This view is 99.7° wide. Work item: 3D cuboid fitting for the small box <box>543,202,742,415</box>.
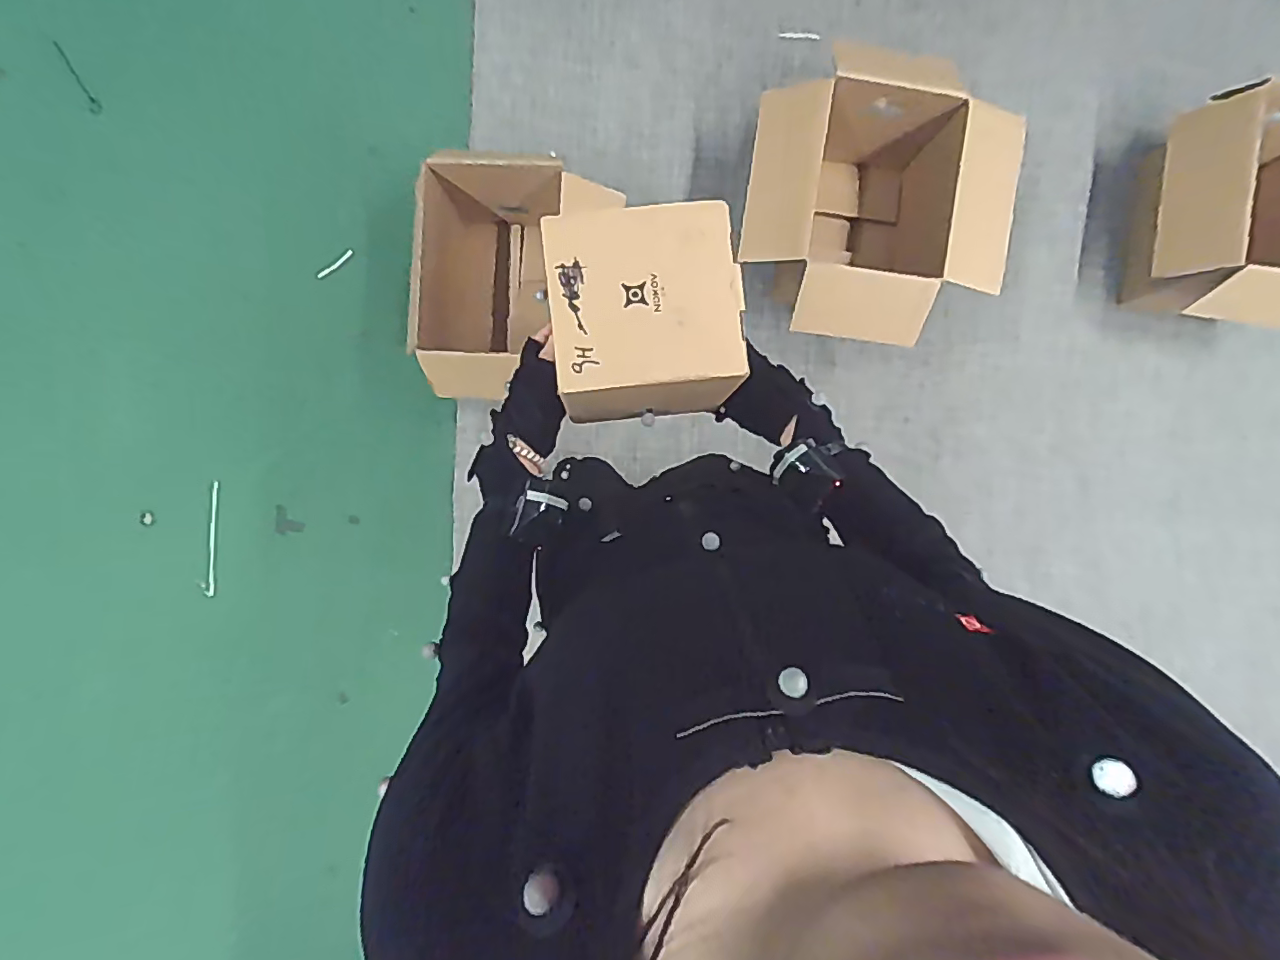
[{"bbox_3d":[-0.003,-0.168,0.574,0.179,0.176,0.168,-5,86,-4],"label":"small box"}]
